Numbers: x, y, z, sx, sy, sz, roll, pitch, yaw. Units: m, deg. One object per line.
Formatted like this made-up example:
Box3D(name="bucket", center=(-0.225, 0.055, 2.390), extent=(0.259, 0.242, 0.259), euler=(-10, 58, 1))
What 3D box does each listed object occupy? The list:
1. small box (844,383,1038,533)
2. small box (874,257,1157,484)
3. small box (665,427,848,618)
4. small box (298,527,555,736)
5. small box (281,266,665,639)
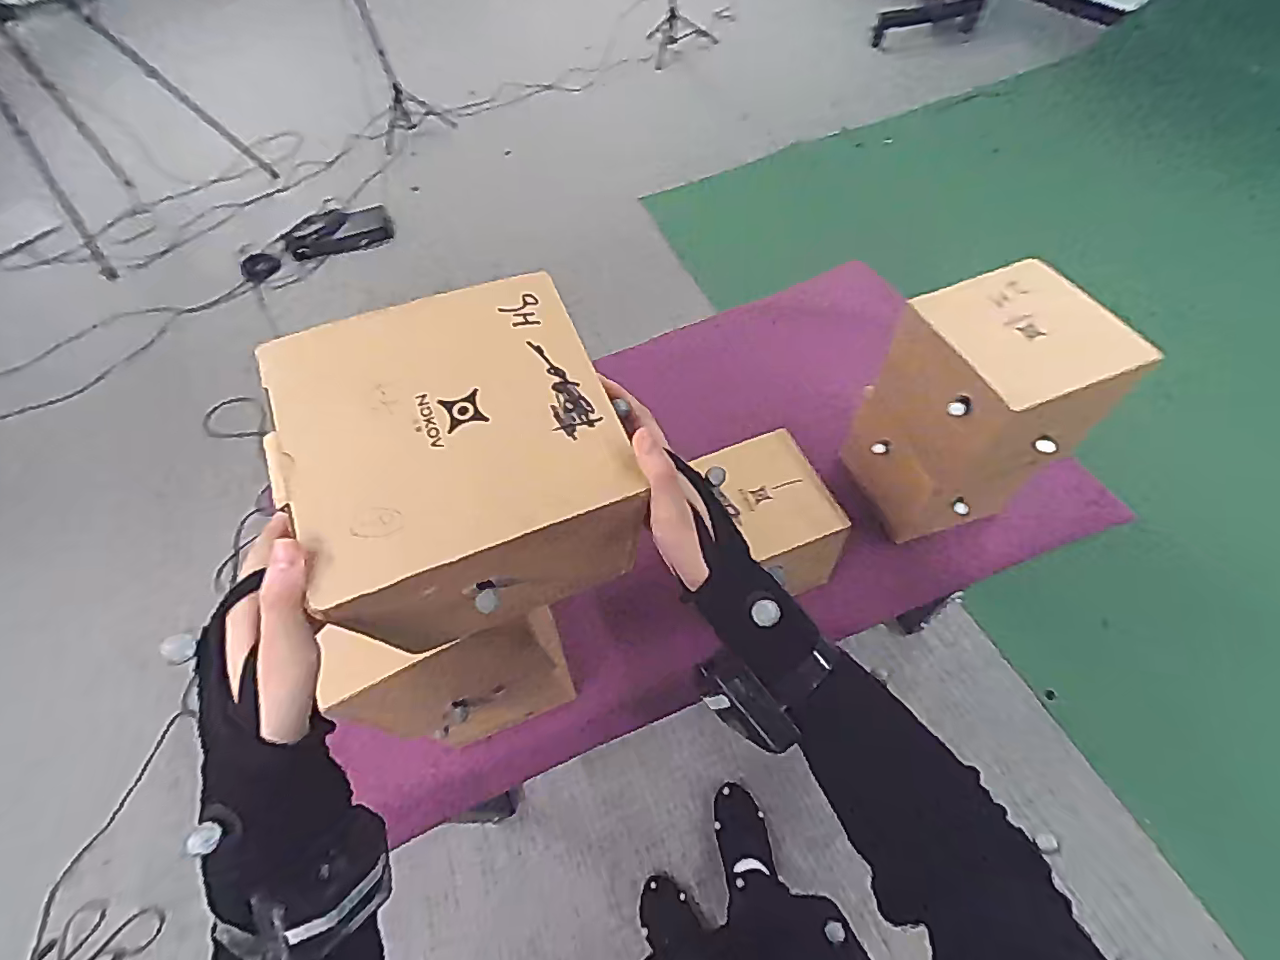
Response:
Box3D(name="small box", center=(0.418, -0.041, 0.771), extent=(0.168, 0.176, 0.179), euler=(-17, 57, -4))
Box3D(name="small box", center=(0.404, -0.115, 0.623), extent=(0.168, 0.176, 0.179), euler=(-20, 57, -6))
Box3D(name="small box", center=(0.148, 0.064, 0.733), extent=(0.179, 0.176, 0.168), euler=(-20, 56, -7))
Box3D(name="small box", center=(-0.202, 0.125, 0.538), extent=(0.168, 0.176, 0.179), euler=(-25, 57, -9))
Box3D(name="small box", center=(-0.100, -0.007, 0.367), extent=(0.179, 0.176, 0.168), euler=(-19, 69, -13))
